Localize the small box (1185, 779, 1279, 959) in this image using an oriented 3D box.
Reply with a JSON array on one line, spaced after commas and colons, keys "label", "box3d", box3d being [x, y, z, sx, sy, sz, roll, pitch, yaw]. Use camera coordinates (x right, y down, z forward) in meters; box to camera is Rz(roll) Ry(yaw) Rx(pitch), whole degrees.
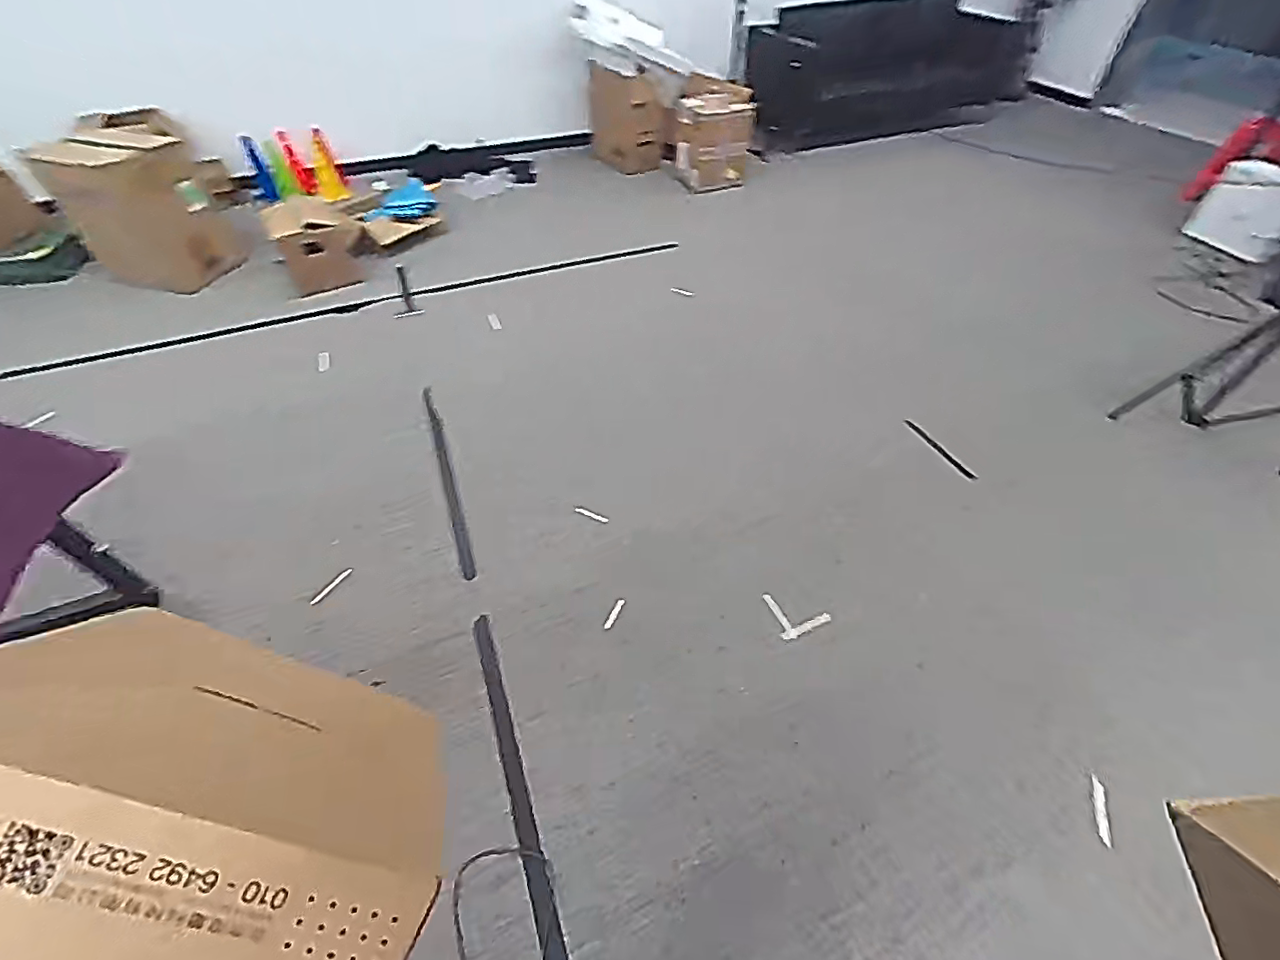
[{"label": "small box", "box3d": [0.396, 0.239, 0.228, 0.168, 0.179, 0.176, -15, 75, 21]}]
